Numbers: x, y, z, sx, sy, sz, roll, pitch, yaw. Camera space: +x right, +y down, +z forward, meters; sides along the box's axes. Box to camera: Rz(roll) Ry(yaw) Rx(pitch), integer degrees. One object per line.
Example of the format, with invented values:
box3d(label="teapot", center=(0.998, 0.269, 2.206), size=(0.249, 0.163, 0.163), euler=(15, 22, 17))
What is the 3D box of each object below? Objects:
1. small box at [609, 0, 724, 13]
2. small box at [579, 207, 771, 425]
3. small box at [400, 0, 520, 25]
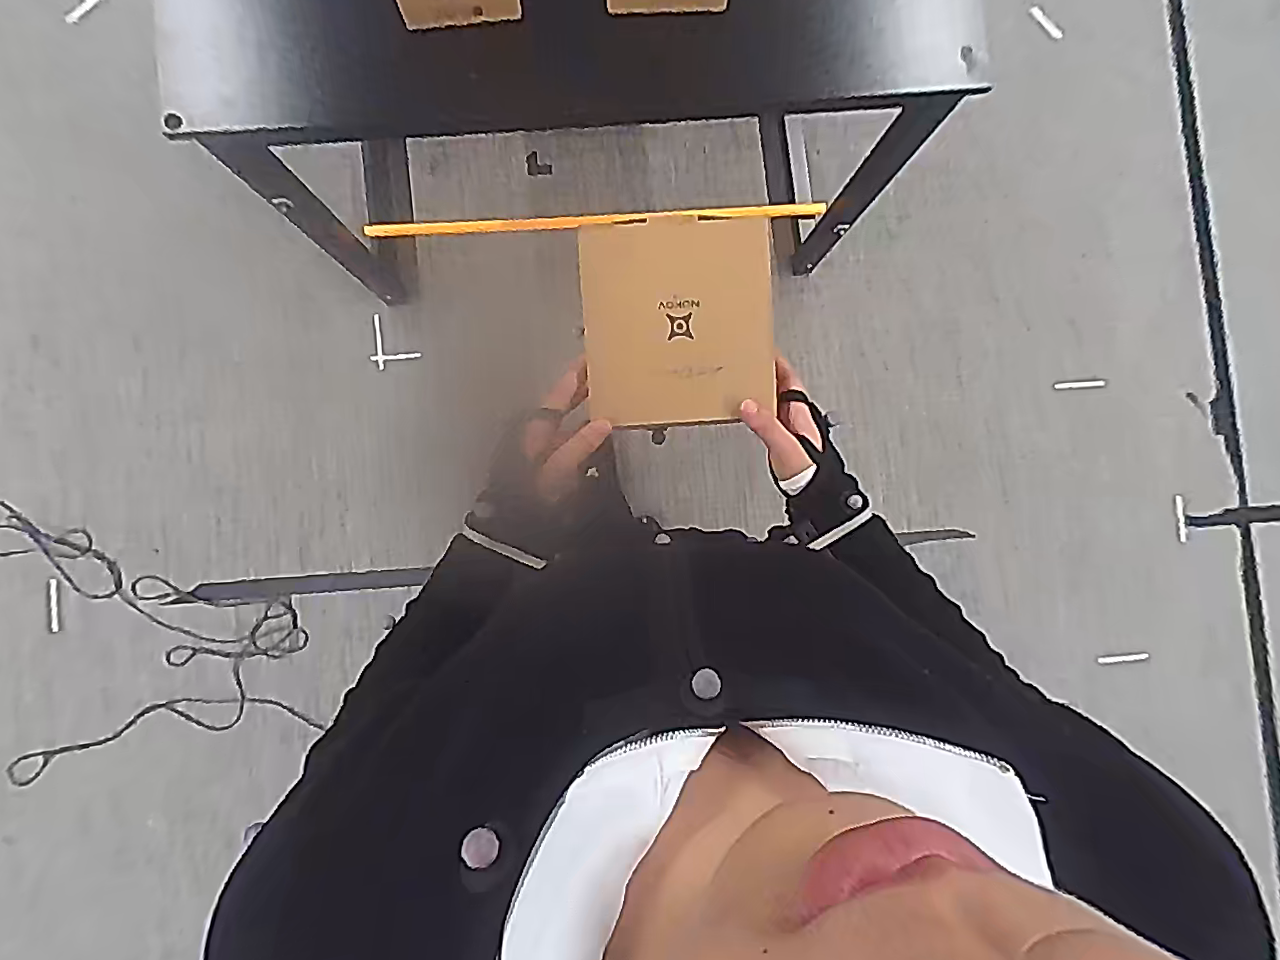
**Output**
box3d(label="small box", center=(0.036, -0.775, 0.725), size=(0.179, 0.176, 0.168), euler=(-4, 88, -4))
box3d(label="small box", center=(0.026, -0.152, 0.551), size=(0.168, 0.176, 0.179), euler=(-4, 94, -3))
box3d(label="small box", center=(-0.262, -0.746, 0.710), size=(0.168, 0.176, 0.179), euler=(-10, 89, -3))
